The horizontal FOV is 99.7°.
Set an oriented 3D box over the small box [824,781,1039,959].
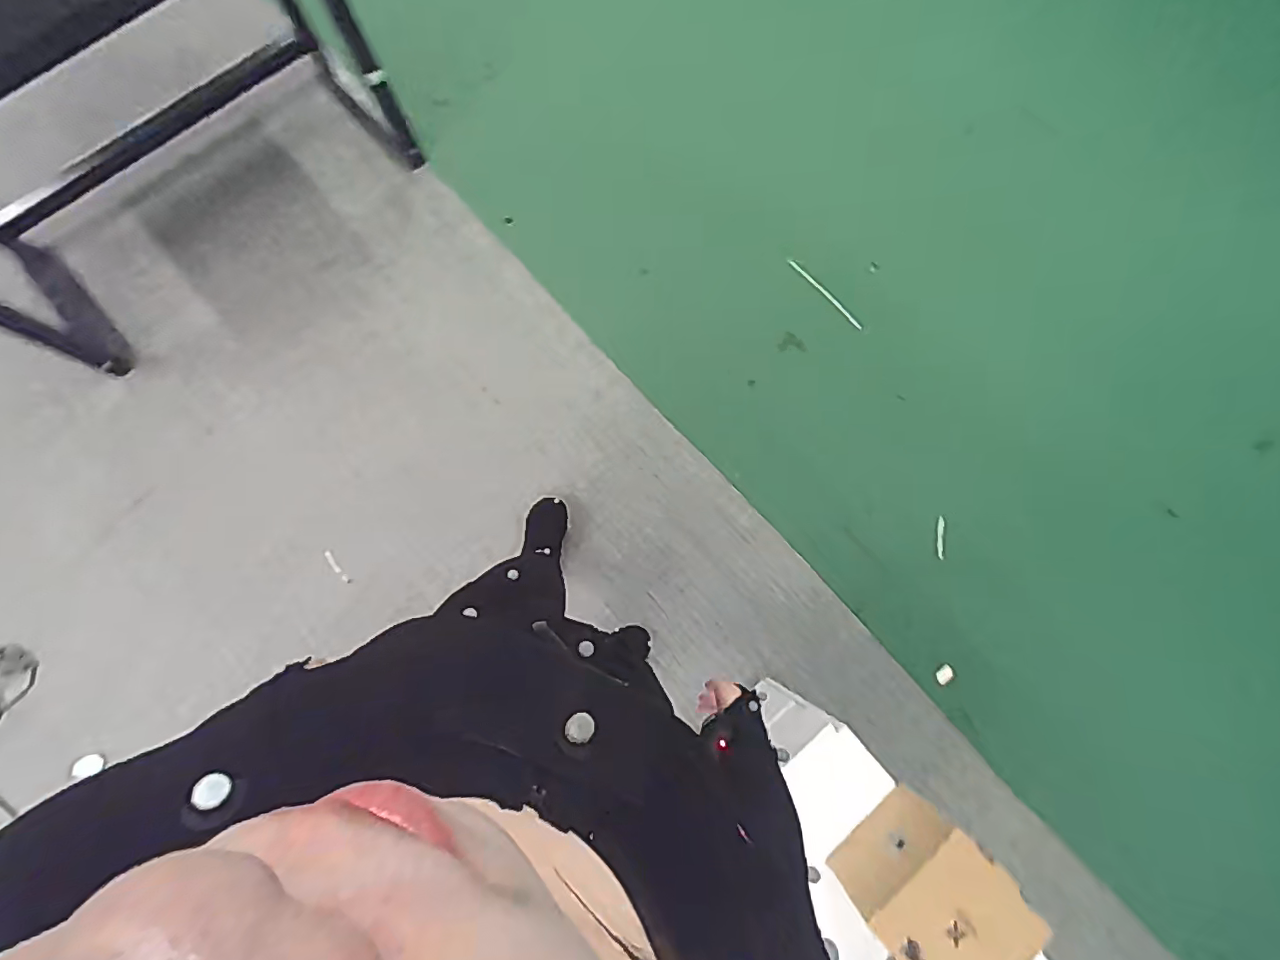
[{"bbox_3d":[0.397,0.575,0.772,0.179,0.176,0.168,-40,81,-8],"label":"small box"}]
